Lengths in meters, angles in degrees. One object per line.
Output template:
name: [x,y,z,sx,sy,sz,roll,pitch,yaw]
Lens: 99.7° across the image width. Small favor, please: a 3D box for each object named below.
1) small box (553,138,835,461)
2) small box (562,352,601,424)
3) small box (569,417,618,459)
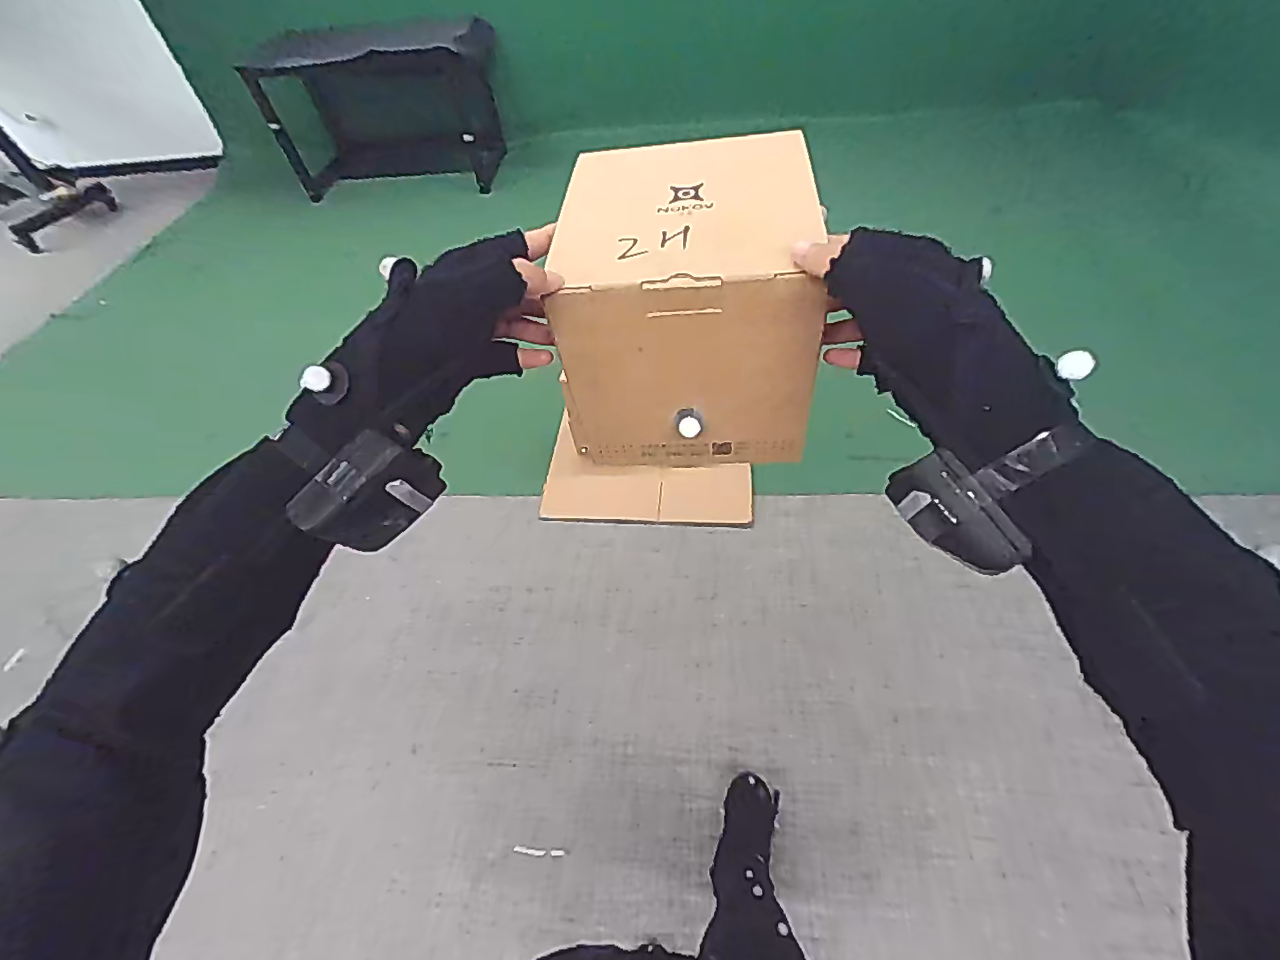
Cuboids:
small box: [0.045,-0.134,0.422,0.168,0.176,0.179,-1,53,9]
small box: [-0.147,-0.303,1.791,0.168,0.176,0.179,3,51,9]
small box: [-0.139,-0.191,1.909,0.168,0.176,0.179,2,50,9]
